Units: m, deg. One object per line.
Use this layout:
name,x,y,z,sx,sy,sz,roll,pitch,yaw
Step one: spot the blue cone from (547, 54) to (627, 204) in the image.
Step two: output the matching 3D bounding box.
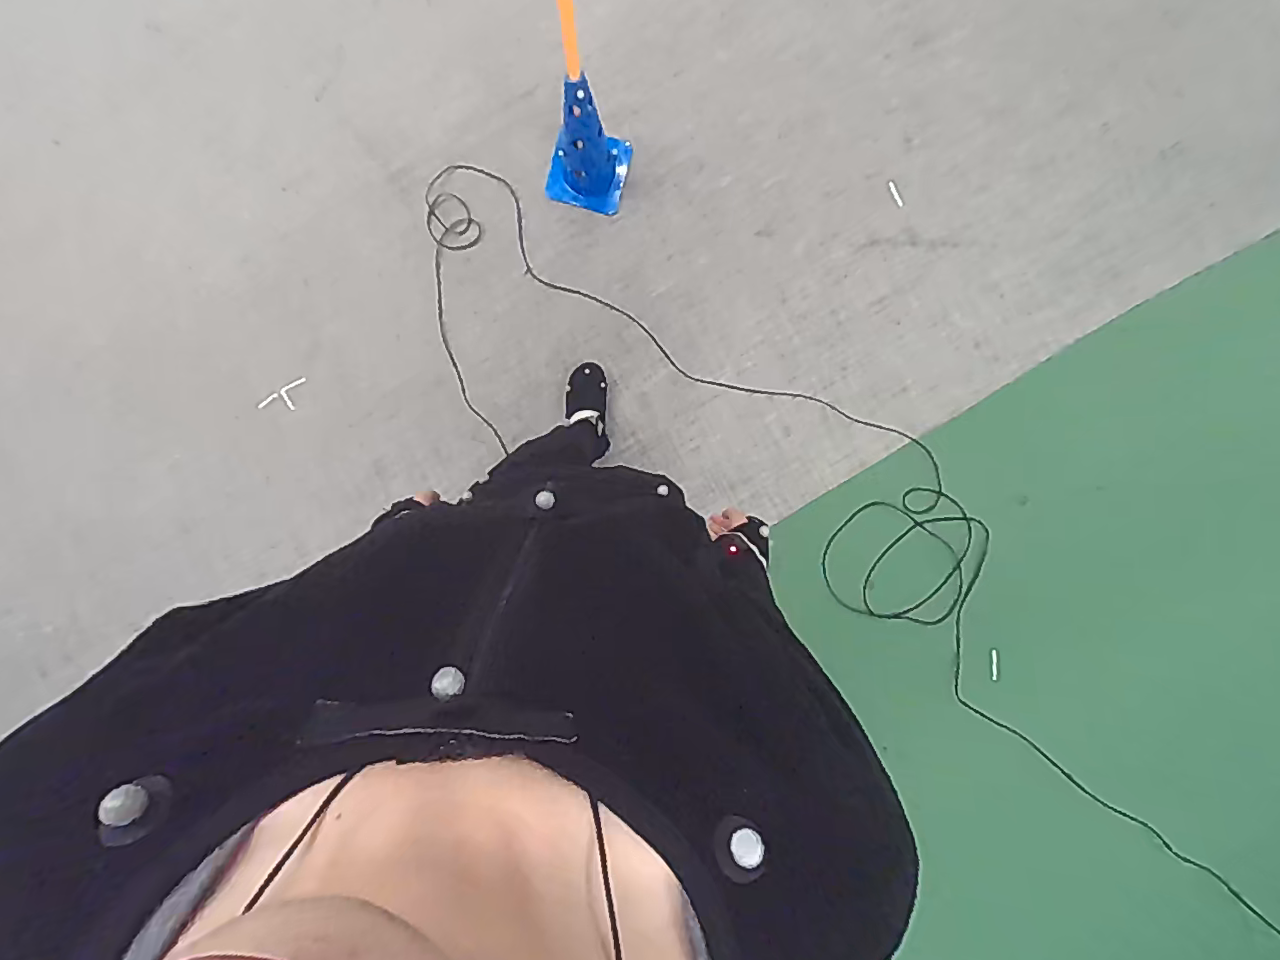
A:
blue cone,-0.135,-0.827,1.250,0.192,0.380,0.193,14,91,-2
